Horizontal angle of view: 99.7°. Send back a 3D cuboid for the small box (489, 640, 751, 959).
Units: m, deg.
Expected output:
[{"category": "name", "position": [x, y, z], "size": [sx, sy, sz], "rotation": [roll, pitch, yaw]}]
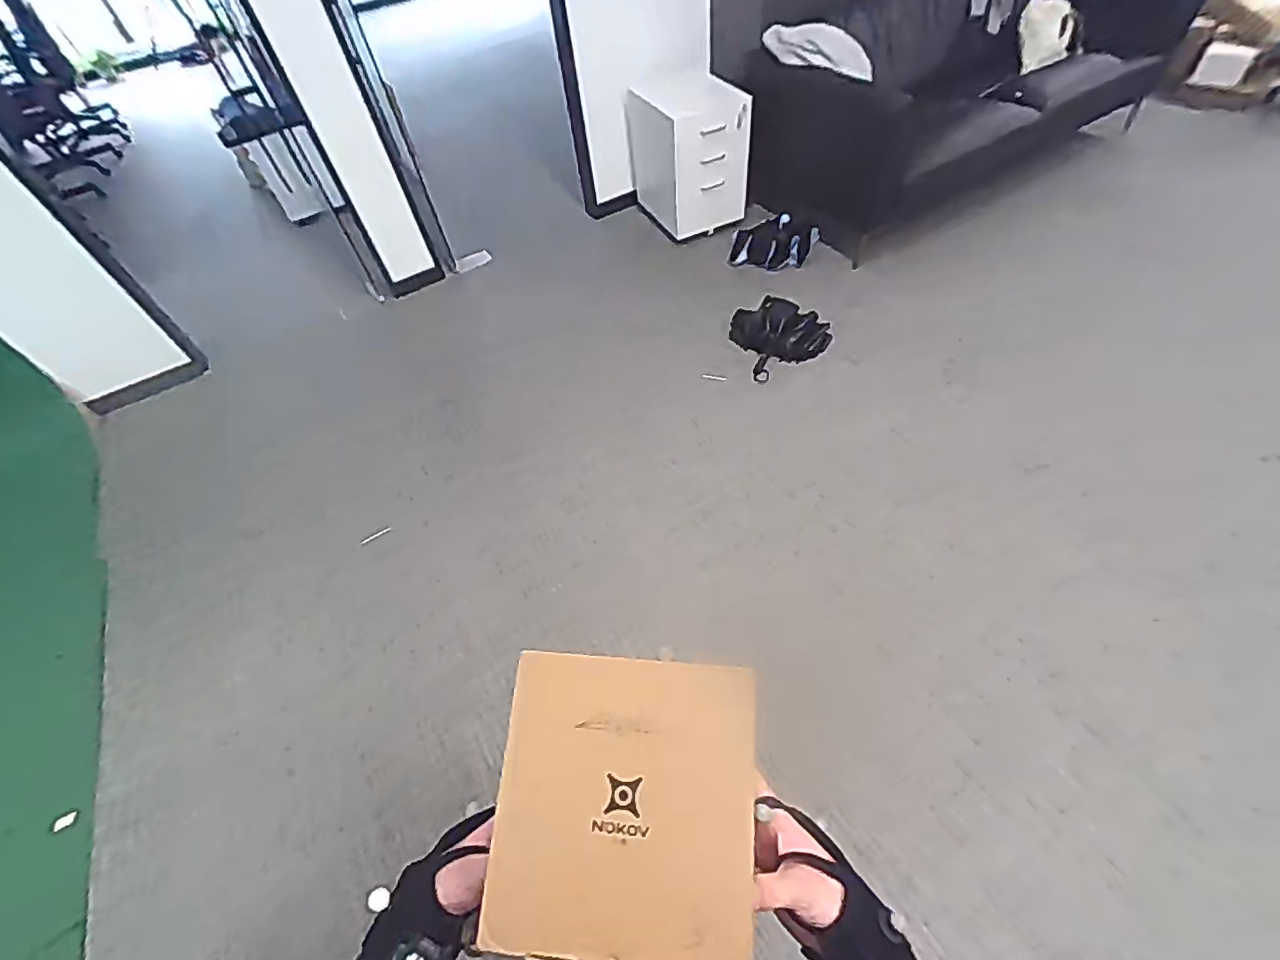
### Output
[{"category": "small box", "position": [-0.002, 0.228, 0.431], "size": [0.168, 0.176, 0.179], "rotation": [2, 70, 6]}]
